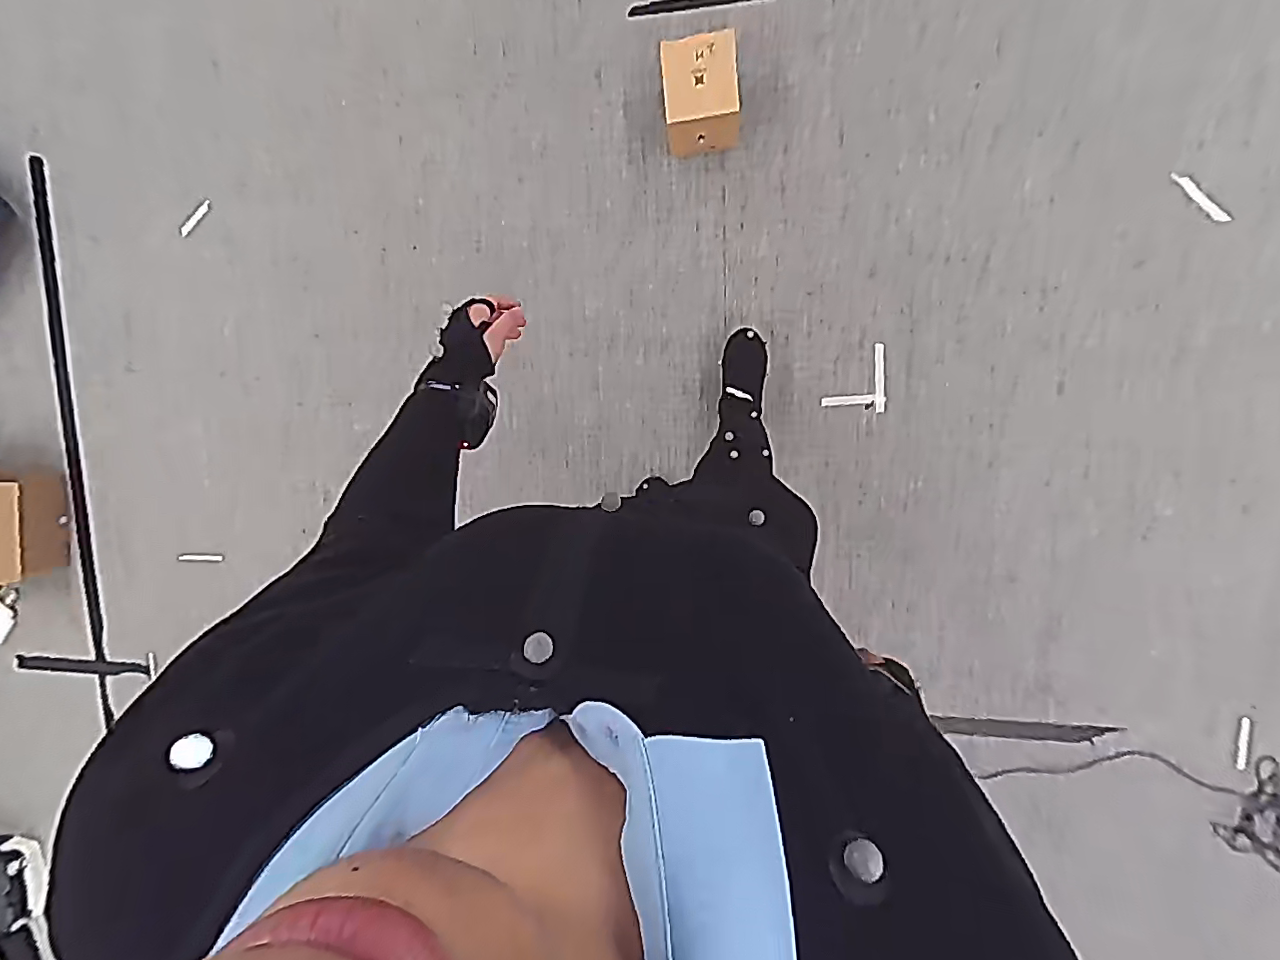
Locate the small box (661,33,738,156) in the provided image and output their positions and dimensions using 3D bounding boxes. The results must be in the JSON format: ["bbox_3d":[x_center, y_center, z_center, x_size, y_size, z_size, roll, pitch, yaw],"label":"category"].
[{"bbox_3d":[0.143,-0.895,1.278,0.168,0.176,0.179,-4,95,8],"label":"small box"}]
